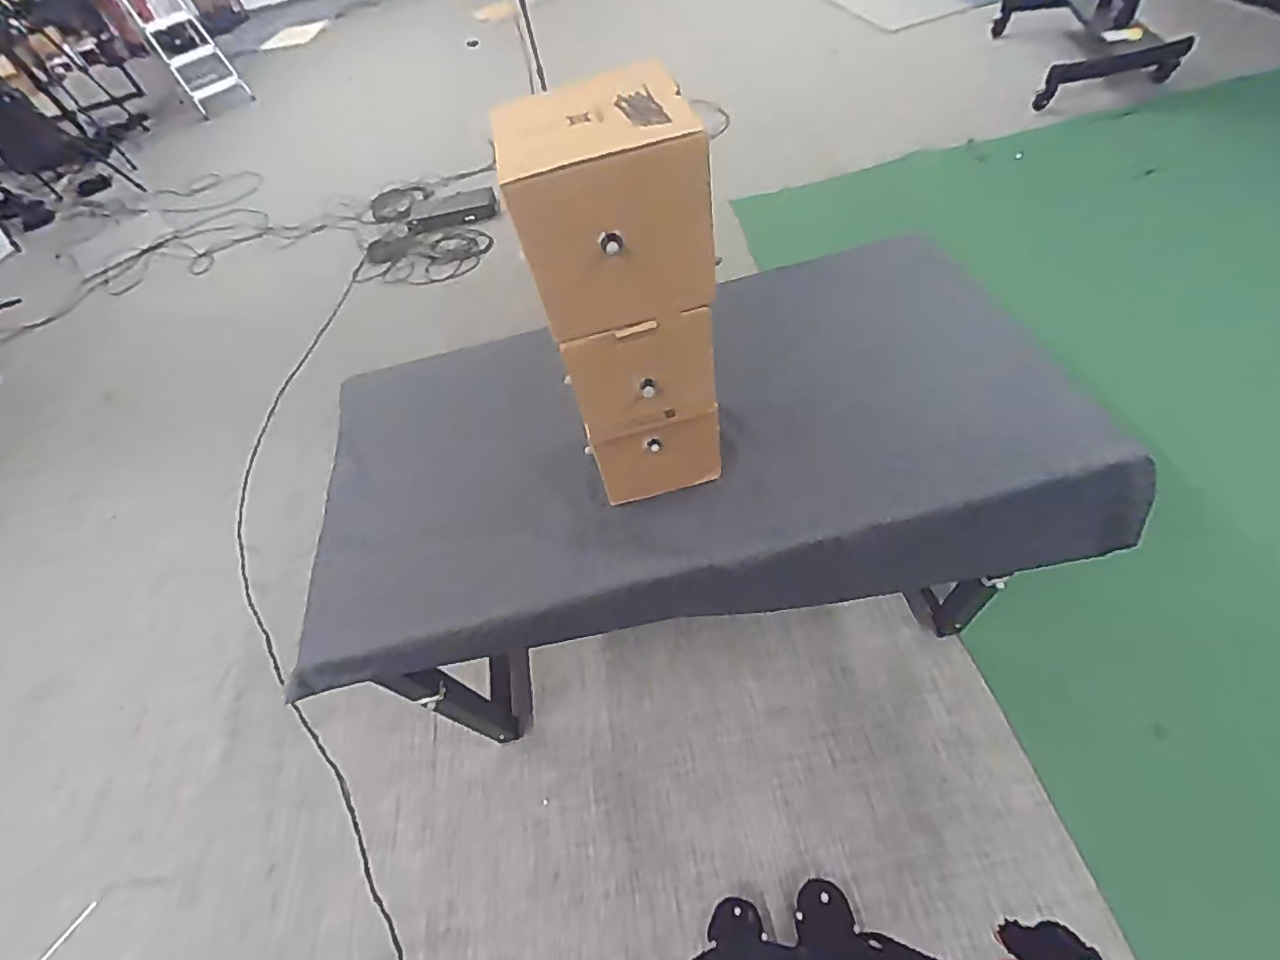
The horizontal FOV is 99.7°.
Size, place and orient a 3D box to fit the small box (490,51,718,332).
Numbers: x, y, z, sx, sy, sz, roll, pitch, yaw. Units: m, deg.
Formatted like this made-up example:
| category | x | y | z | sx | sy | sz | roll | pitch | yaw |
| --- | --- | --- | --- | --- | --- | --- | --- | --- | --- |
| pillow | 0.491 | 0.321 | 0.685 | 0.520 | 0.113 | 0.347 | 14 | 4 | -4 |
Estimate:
| category | x | y | z | sx | sy | sz | roll | pitch | yaw |
| --- | --- | --- | --- | --- | --- | --- | --- | --- | --- |
| small box | -0.031 | -0.277 | 0.534 | 0.179 | 0.176 | 0.168 | -16 | 55 | -2 |

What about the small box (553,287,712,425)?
| category | x | y | z | sx | sy | sz | roll | pitch | yaw |
| --- | --- | --- | --- | --- | --- | --- | --- | --- | --- |
| small box | -0.012 | -0.187 | 0.671 | 0.168 | 0.176 | 0.179 | -15 | 56 | 1 |

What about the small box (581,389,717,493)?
| category | x | y | z | sx | sy | sz | roll | pitch | yaw |
| --- | --- | --- | --- | --- | --- | --- | --- | --- | --- |
| small box | 0.011 | -0.101 | 0.808 | 0.179 | 0.176 | 0.168 | -14 | 55 | 0 |
